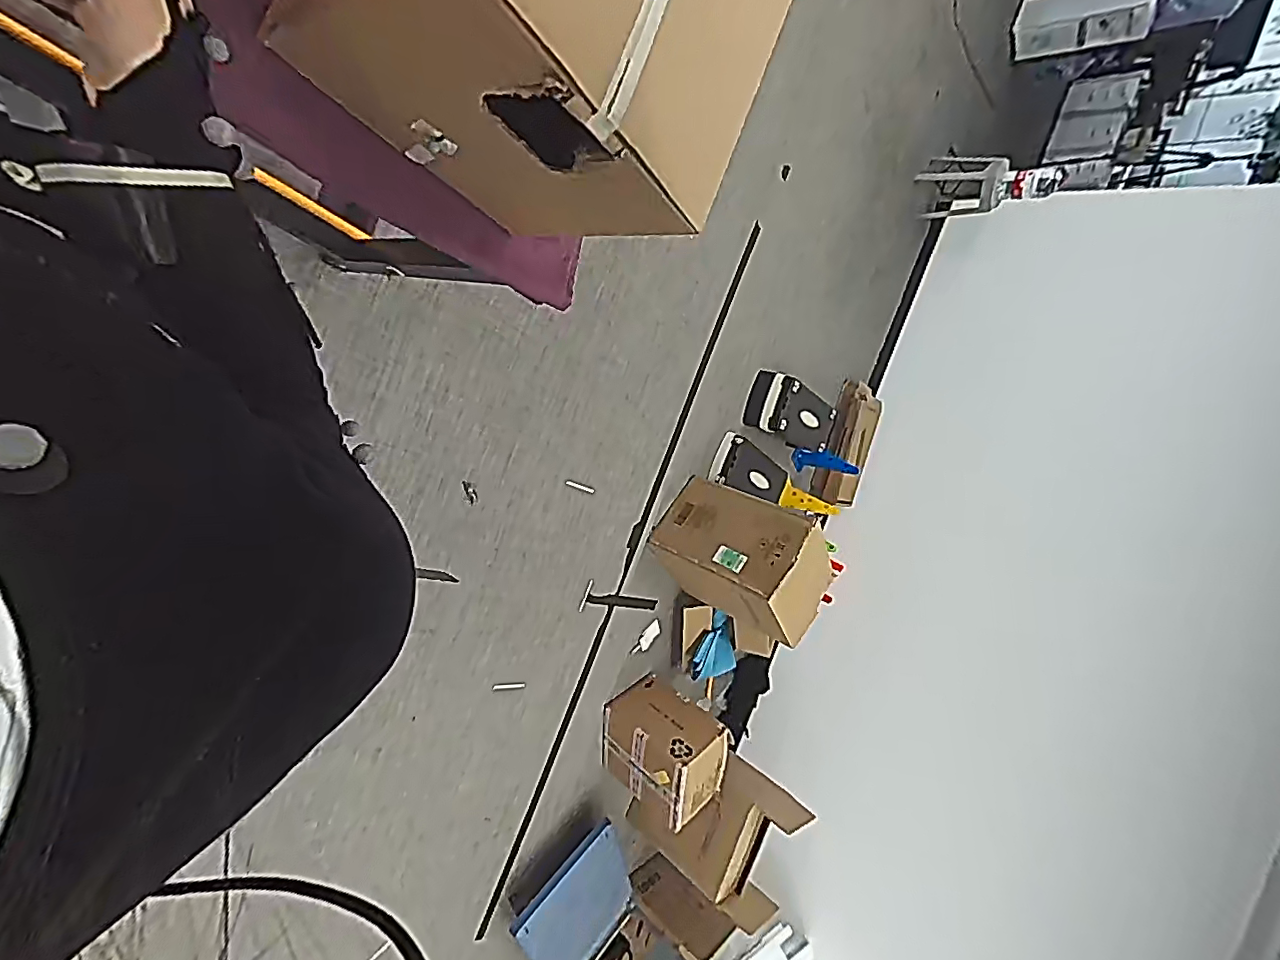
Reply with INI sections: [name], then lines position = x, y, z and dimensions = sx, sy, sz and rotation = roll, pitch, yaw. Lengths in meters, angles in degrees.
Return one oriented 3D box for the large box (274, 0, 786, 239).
[large box]
position = -0.072, -0.498, 0.513
dimensions = 0.320, 0.320, 0.408
rotation = 22, 88, -53
